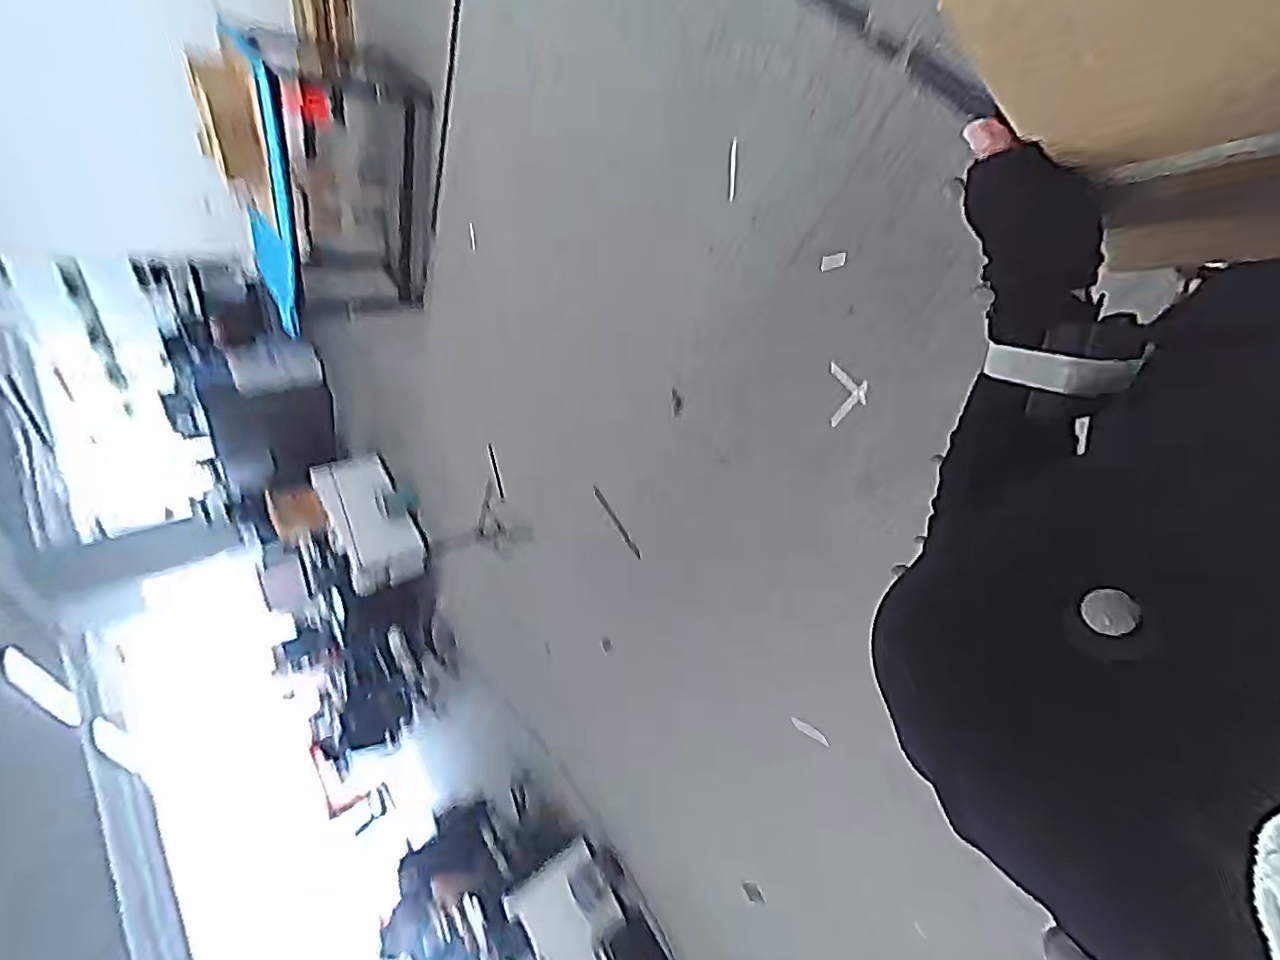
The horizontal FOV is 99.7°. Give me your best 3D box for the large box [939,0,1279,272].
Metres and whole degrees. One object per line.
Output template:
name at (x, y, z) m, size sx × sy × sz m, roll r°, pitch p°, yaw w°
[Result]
large box at (0.384, -0.292, 0.158) m, size 0.408 × 0.320 × 0.320 m, roll 15°, pitch 96°, yaw 51°
